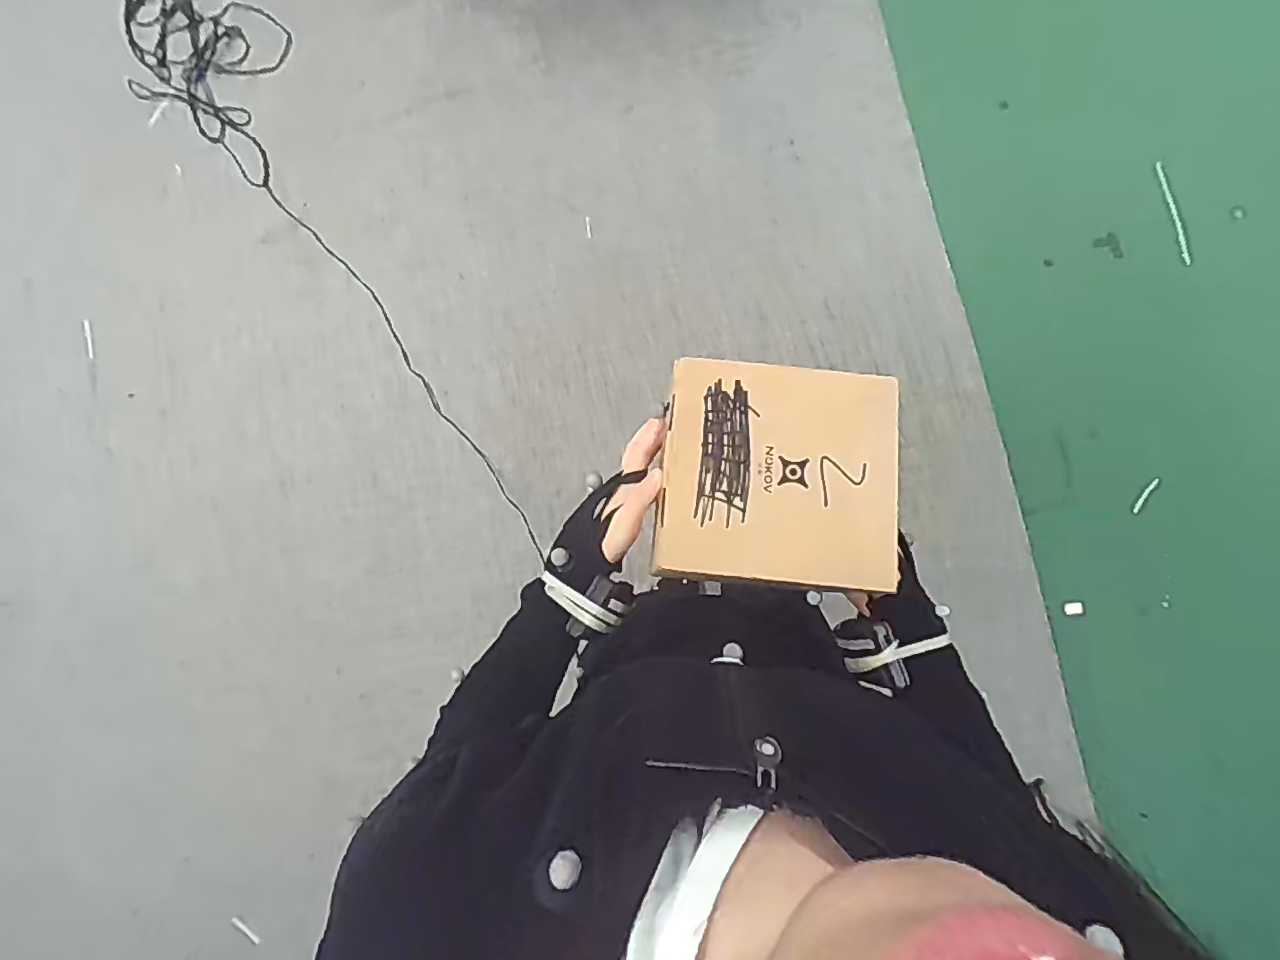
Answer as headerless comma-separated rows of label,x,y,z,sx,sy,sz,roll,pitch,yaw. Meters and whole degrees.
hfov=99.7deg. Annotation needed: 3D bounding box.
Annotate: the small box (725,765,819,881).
small box,0.319,0.850,1.354,0.179,0.176,0.168,-16,84,0
